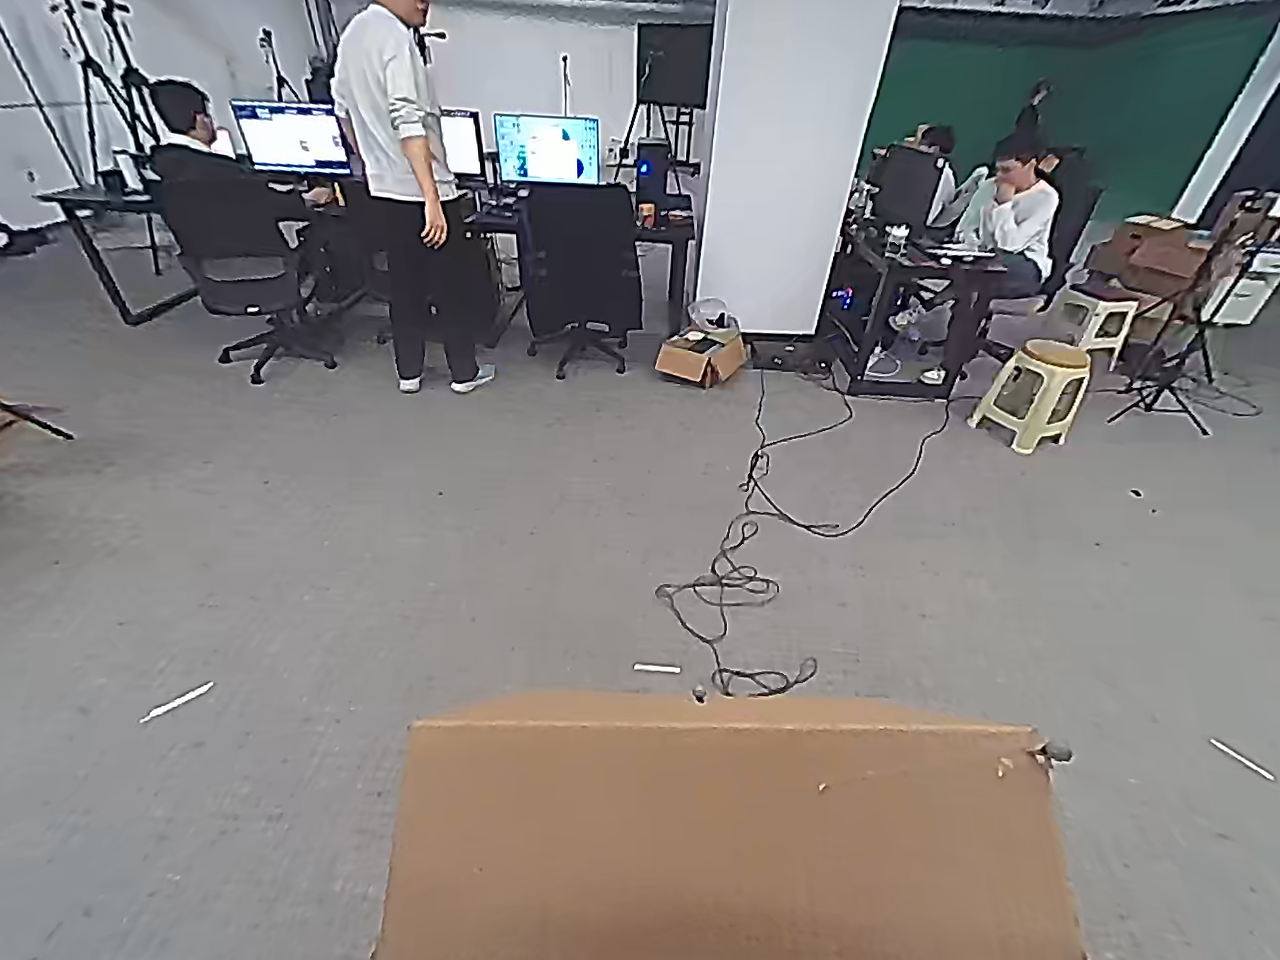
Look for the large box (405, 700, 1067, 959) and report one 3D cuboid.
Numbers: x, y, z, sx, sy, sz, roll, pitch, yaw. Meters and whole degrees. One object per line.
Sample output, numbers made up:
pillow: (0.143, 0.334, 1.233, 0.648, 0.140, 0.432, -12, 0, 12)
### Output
large box: (0.056, 0.361, 0.458, 0.408, 0.320, 0.320, -1, 72, 1)
